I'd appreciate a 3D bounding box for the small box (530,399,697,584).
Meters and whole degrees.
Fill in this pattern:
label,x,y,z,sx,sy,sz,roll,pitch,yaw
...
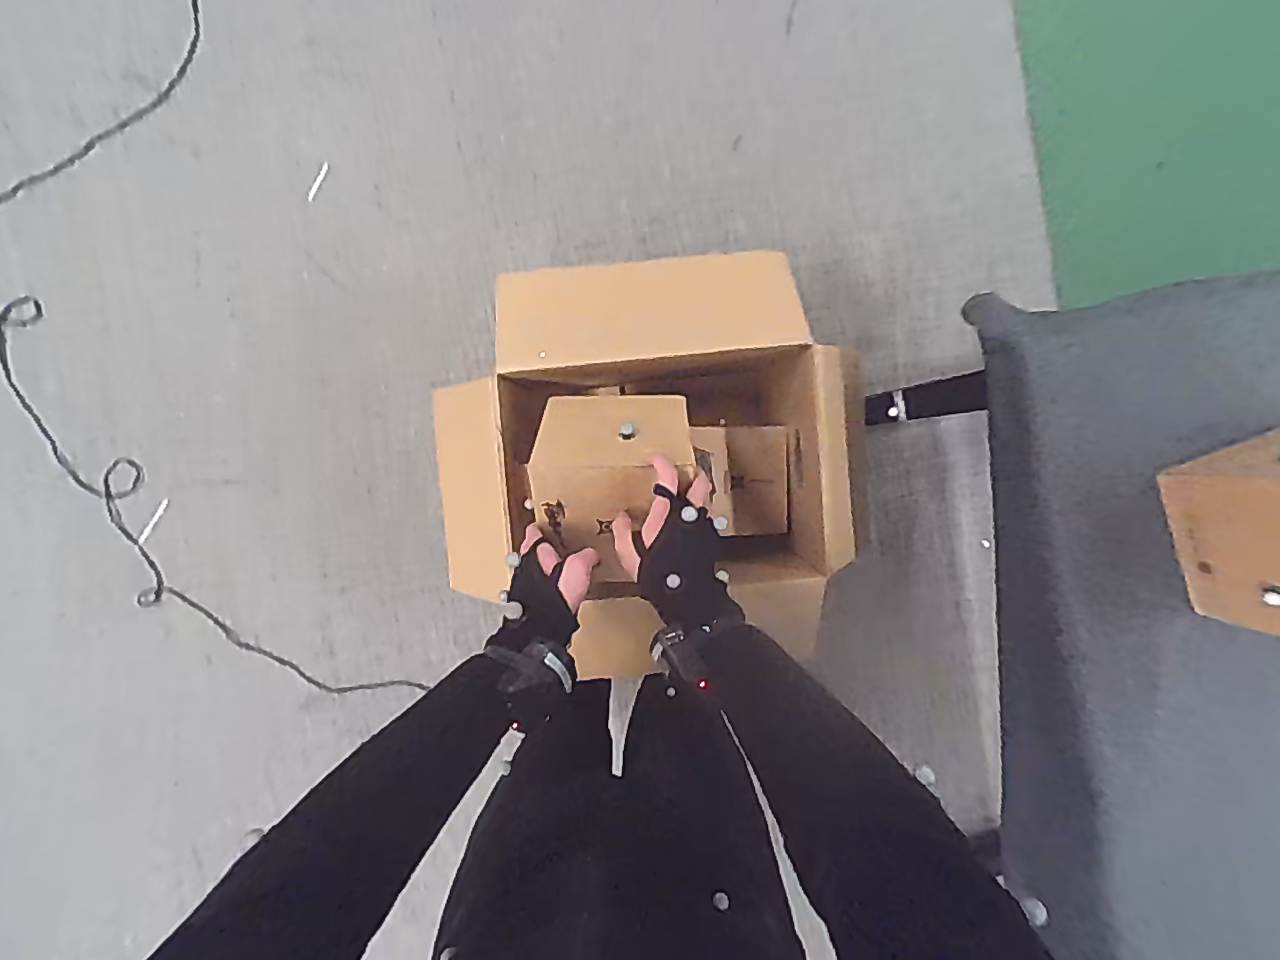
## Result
label,x,y,z,sx,sy,sz,roll,pitch,yaw
small box,-0.029,0.009,0.665,0.179,0.176,0.168,-1,124,0

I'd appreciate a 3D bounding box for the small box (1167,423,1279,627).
label,x,y,z,sx,sy,sz,roll,pitch,yaw
small box,0.661,0.042,0.512,0.179,0.176,0.168,-20,94,-3
